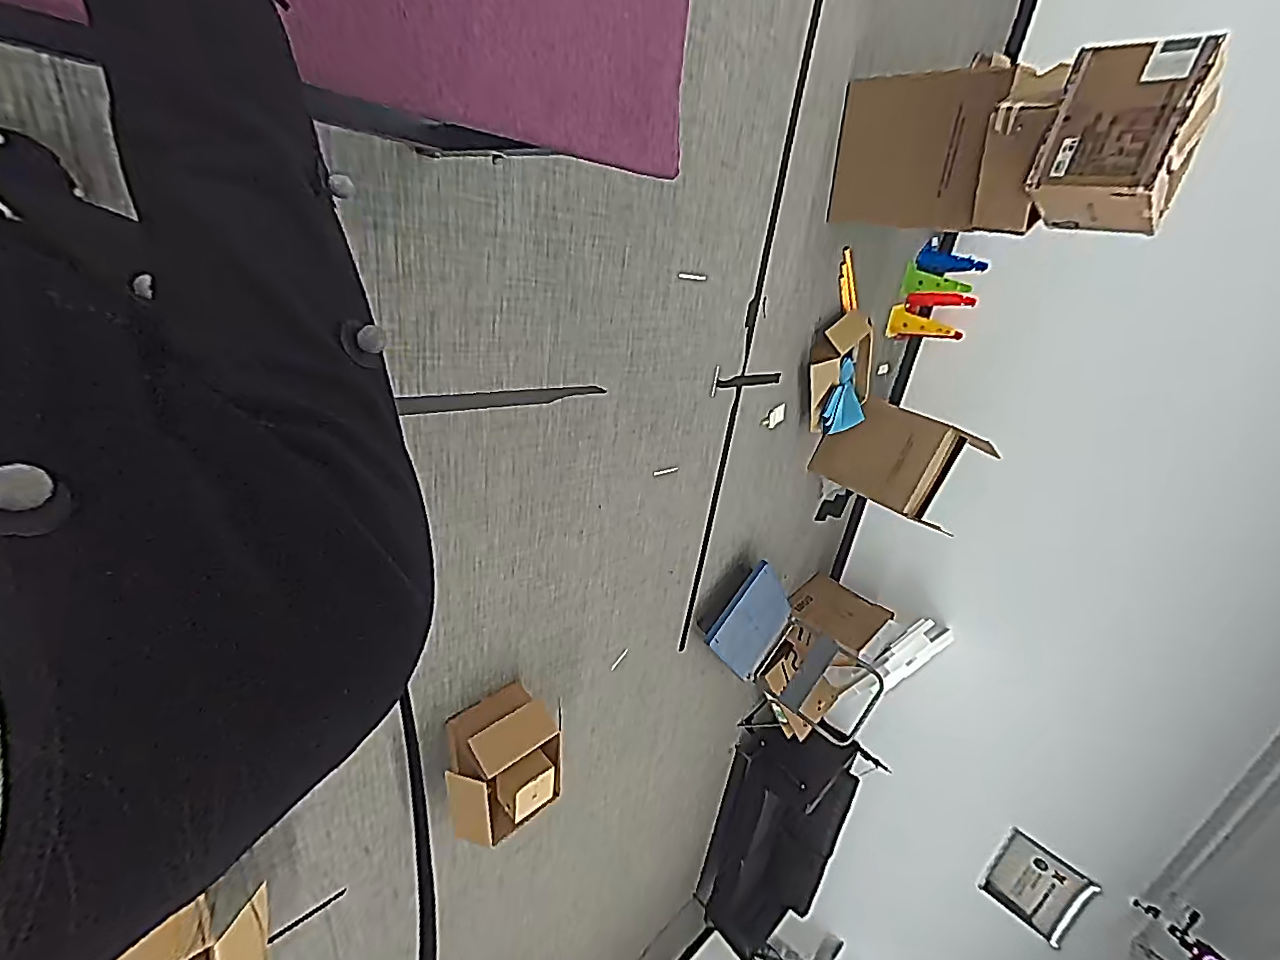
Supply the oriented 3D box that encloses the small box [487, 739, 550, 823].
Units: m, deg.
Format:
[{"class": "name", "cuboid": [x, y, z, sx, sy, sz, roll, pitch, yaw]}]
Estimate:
[{"class": "small box", "cuboid": [-0.457, 1.115, 2.016, 0.168, 0.176, 0.179, -17, 124, -43]}]
